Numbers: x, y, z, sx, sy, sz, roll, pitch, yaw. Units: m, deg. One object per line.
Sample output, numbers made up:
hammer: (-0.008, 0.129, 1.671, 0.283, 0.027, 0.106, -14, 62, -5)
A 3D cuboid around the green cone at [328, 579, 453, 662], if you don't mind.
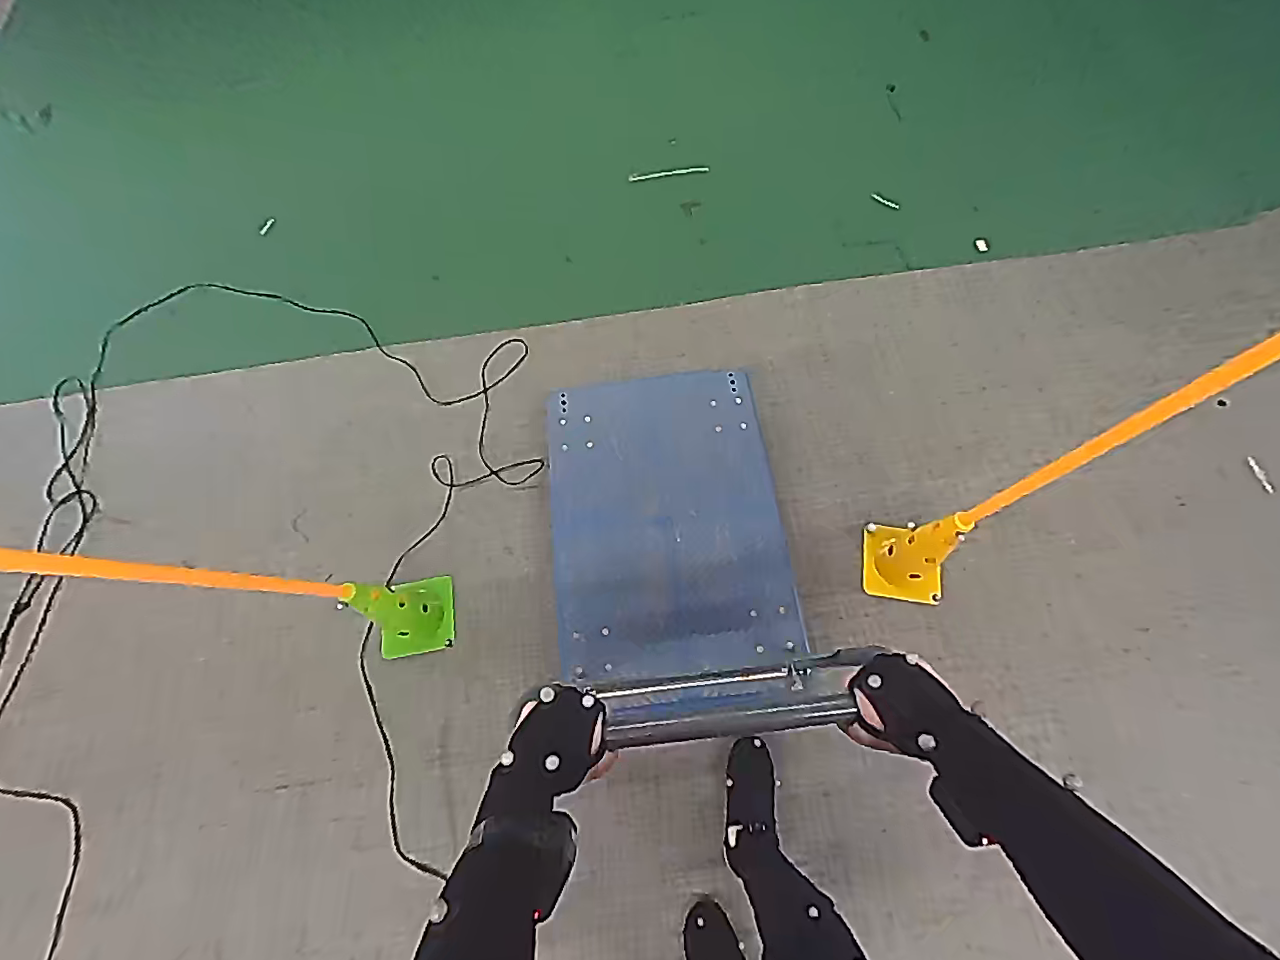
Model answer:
green cone: (-0.628, 0.312, 1.321, 0.202, 0.368, 0.200, -12, 66, 1)
